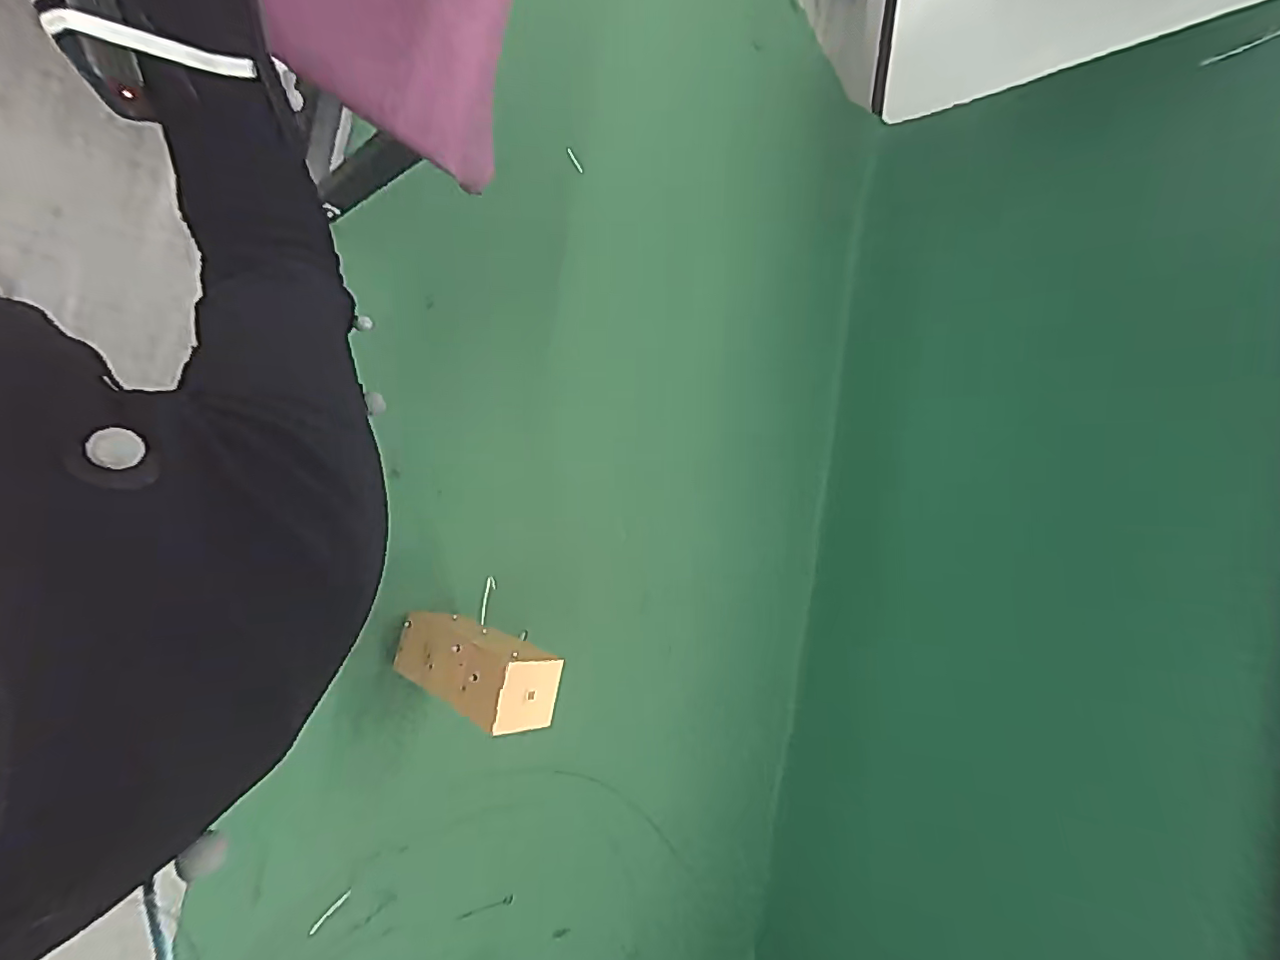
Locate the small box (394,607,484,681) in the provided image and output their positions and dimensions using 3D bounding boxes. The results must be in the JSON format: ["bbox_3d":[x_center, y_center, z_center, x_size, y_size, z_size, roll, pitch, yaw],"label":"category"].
[{"bbox_3d":[-0.582,0.466,1.558,0.179,0.176,0.168,16,83,-47],"label":"small box"}]

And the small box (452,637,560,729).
[{"bbox_3d":[-0.333,0.494,1.346,0.179,0.176,0.168,18,82,-49],"label":"small box"}]
